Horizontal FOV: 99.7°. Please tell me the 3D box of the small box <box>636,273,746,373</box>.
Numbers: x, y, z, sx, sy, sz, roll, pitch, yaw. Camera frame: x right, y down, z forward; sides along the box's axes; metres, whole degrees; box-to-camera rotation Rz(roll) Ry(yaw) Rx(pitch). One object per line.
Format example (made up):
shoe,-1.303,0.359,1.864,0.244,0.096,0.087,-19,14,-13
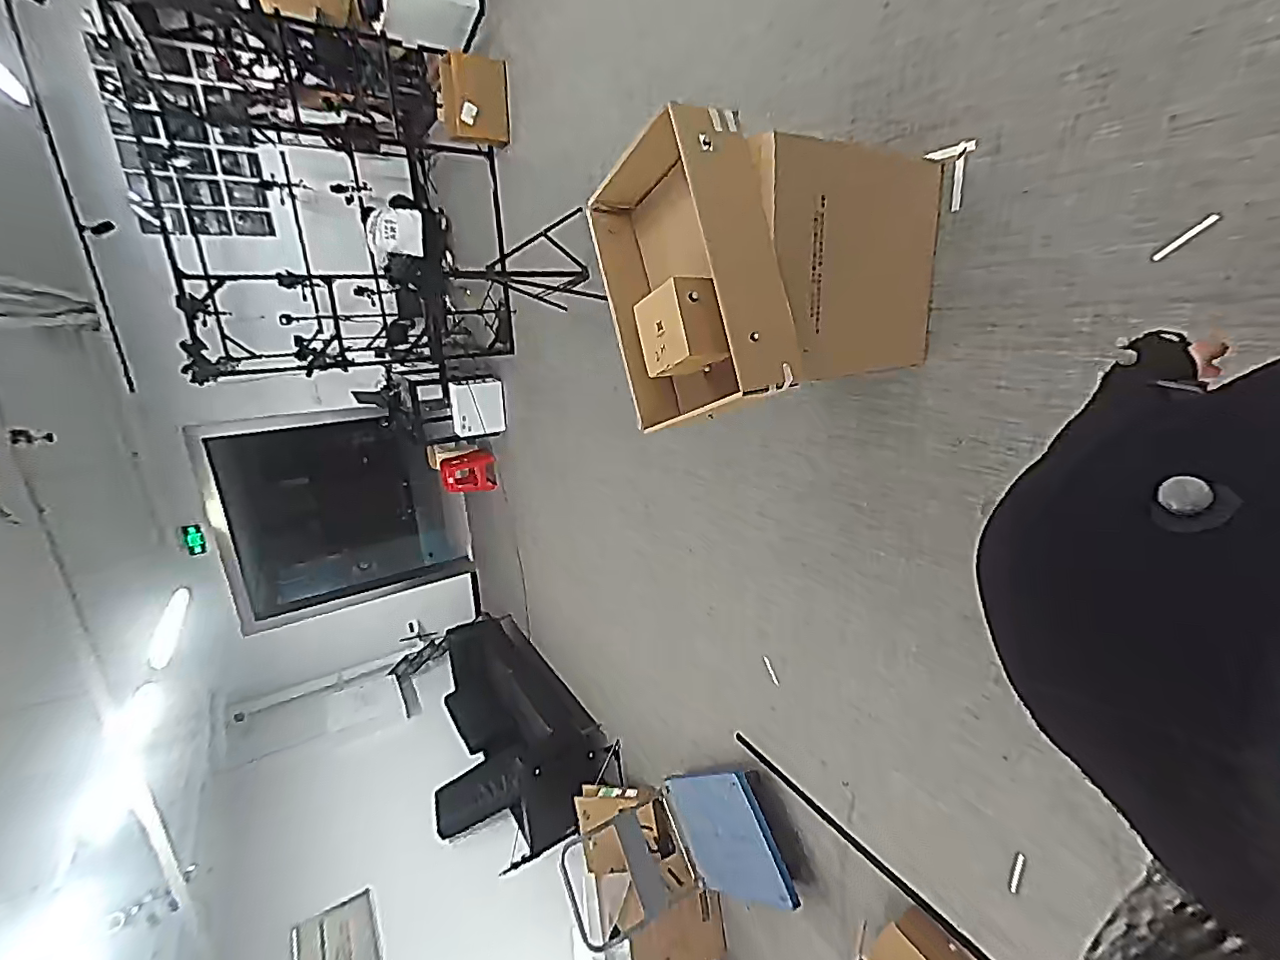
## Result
small box,0.117,-0.355,1.237,0.168,0.176,0.179,-12,91,59
